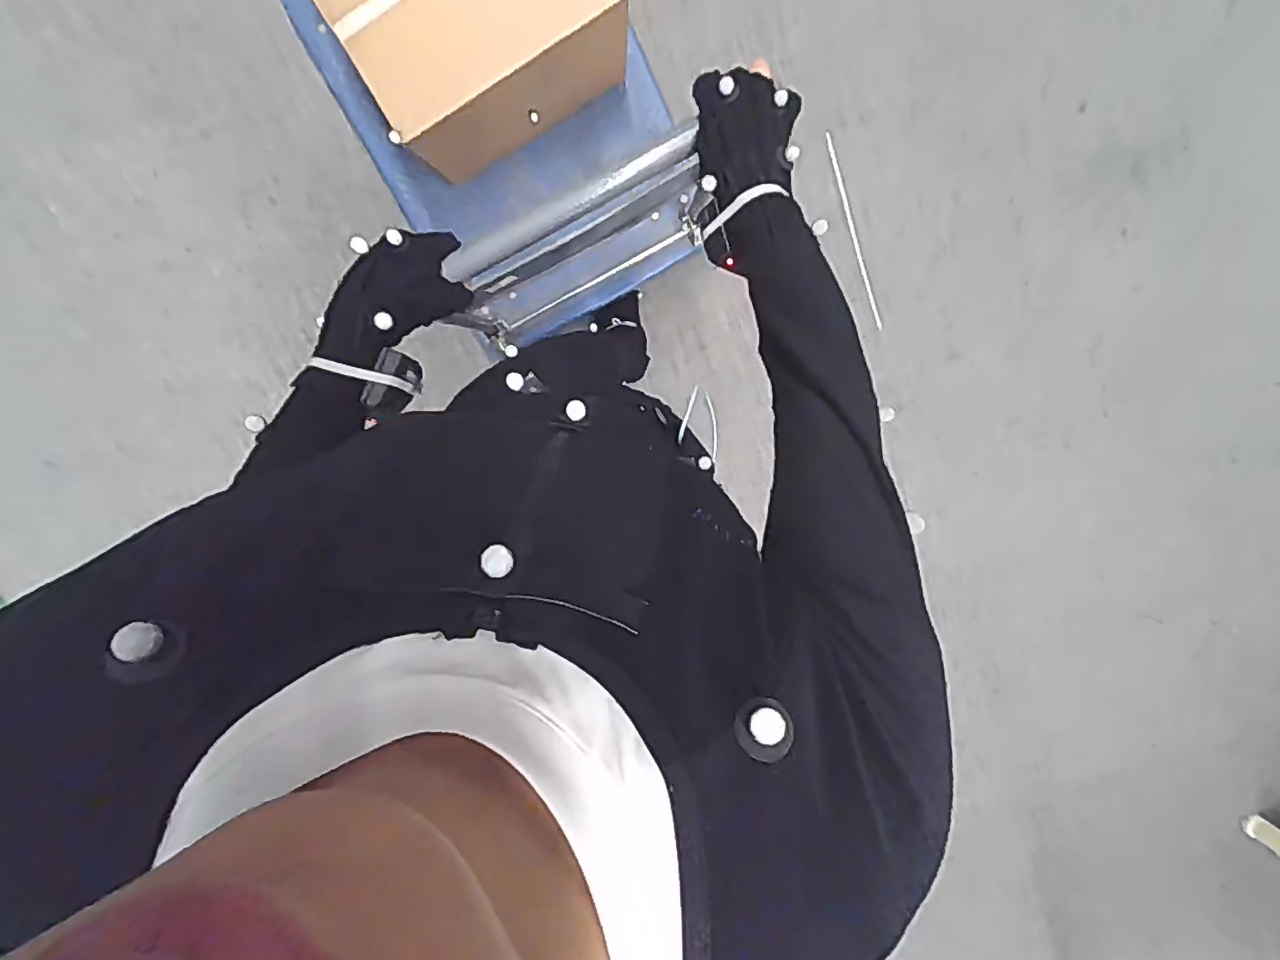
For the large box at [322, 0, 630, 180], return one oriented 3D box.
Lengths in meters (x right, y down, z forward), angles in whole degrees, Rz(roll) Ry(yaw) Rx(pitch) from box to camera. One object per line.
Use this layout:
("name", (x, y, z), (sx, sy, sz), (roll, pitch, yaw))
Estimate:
("large box", (-0.265, -0.788, 0.911), (0.408, 0.320, 0.320), (-29, 106, 7))
